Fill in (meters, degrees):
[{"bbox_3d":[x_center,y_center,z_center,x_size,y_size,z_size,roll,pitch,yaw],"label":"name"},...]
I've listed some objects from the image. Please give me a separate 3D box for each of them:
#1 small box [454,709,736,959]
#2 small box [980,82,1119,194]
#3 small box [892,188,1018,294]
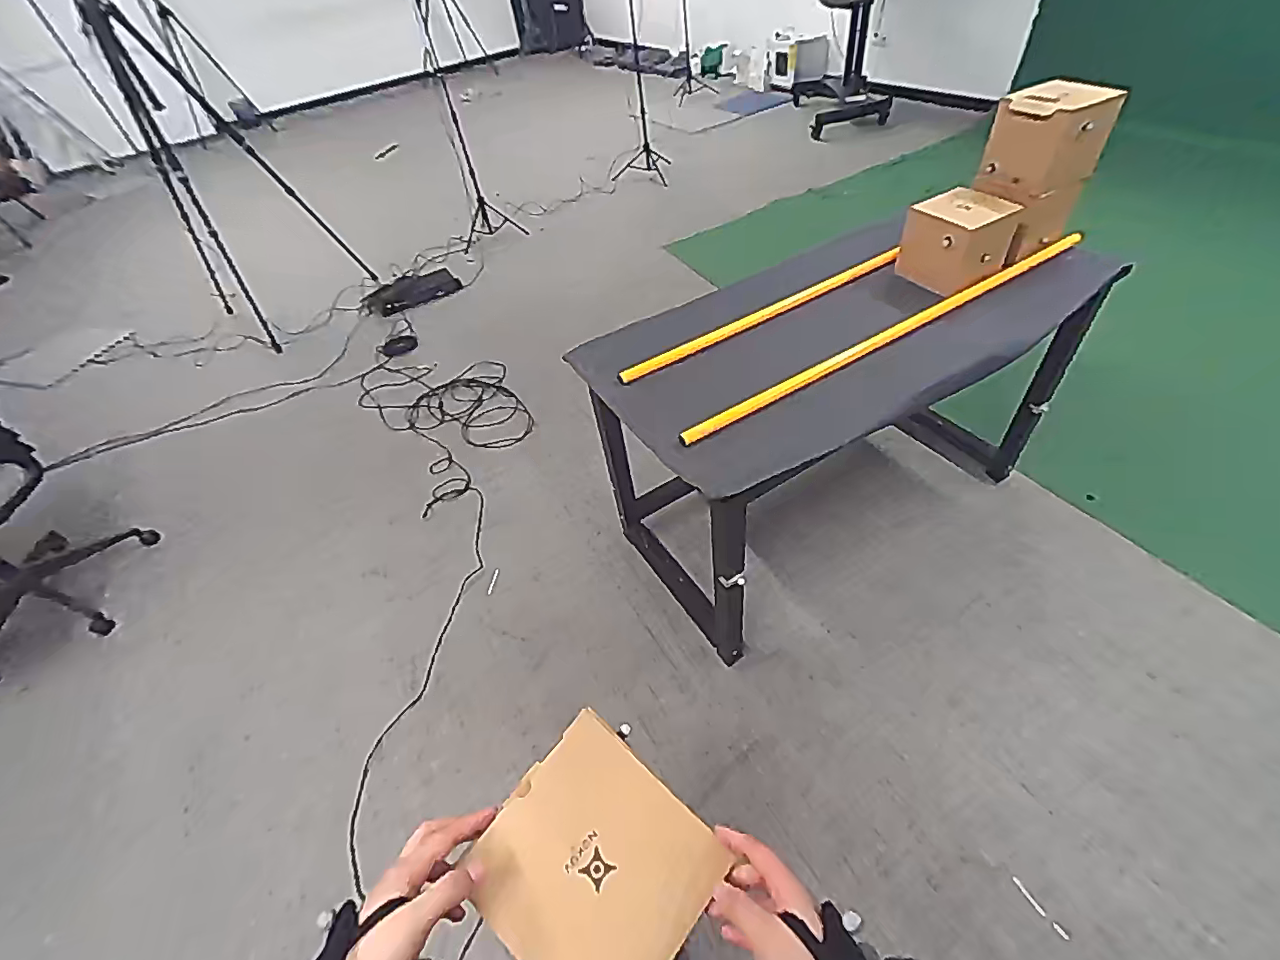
[{"bbox_3d":[-0.036,0.347,0.513,0.179,0.176,0.168,37,68,18],"label":"small box"},{"bbox_3d":[0.919,-0.781,1.239,0.179,0.176,0.168,-24,49,-13],"label":"small box"},{"bbox_3d":[0.744,-0.568,1.298,0.168,0.176,0.179,-26,49,-14],"label":"small box"}]
